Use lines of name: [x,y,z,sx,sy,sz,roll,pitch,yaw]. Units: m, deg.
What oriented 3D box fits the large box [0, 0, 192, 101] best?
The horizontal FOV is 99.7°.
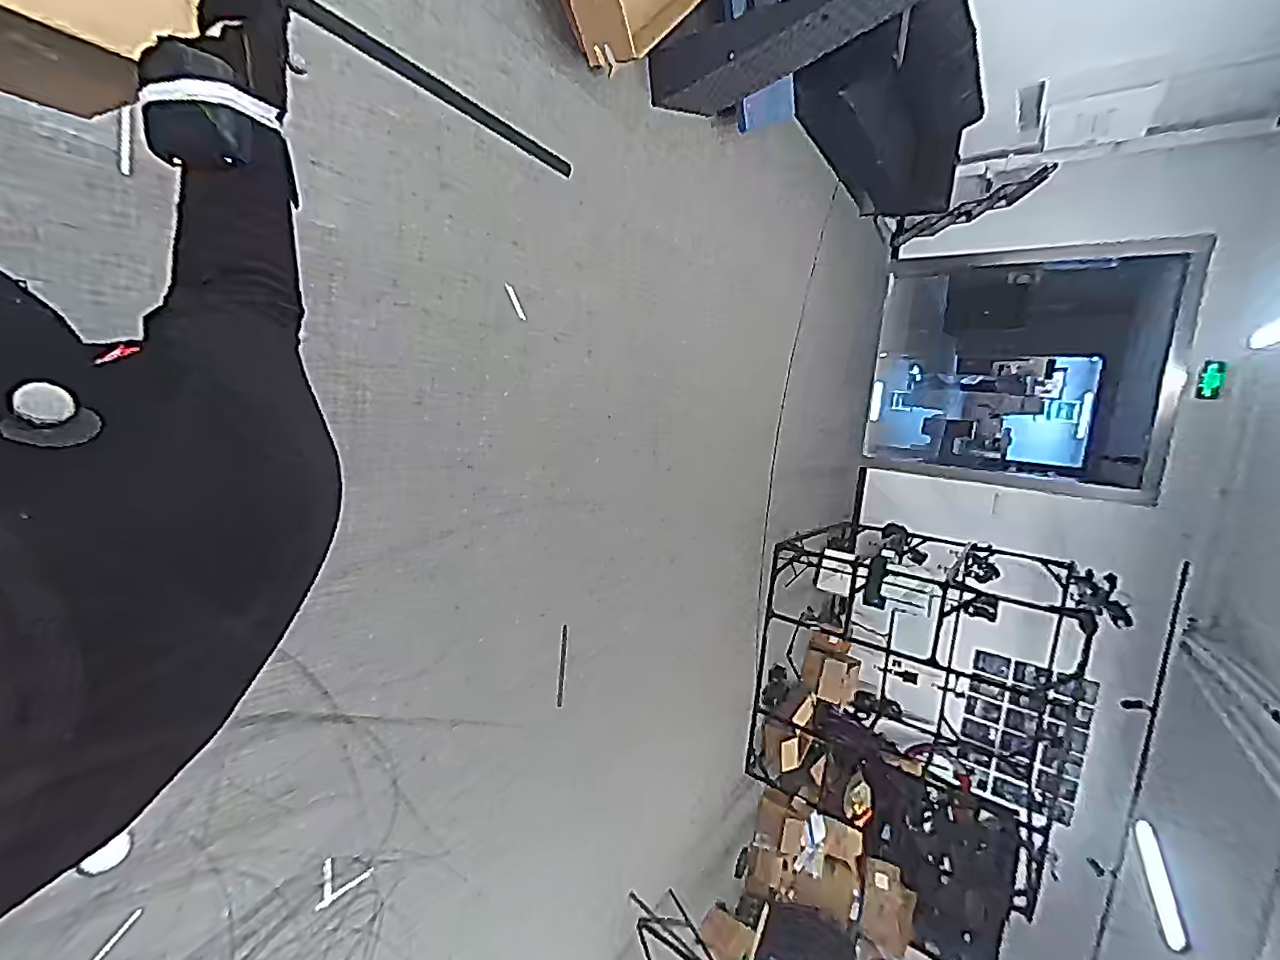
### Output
large box: [-0.530,-0.463,0.271,0.408,0.320,0.320,-8,114,-55]
